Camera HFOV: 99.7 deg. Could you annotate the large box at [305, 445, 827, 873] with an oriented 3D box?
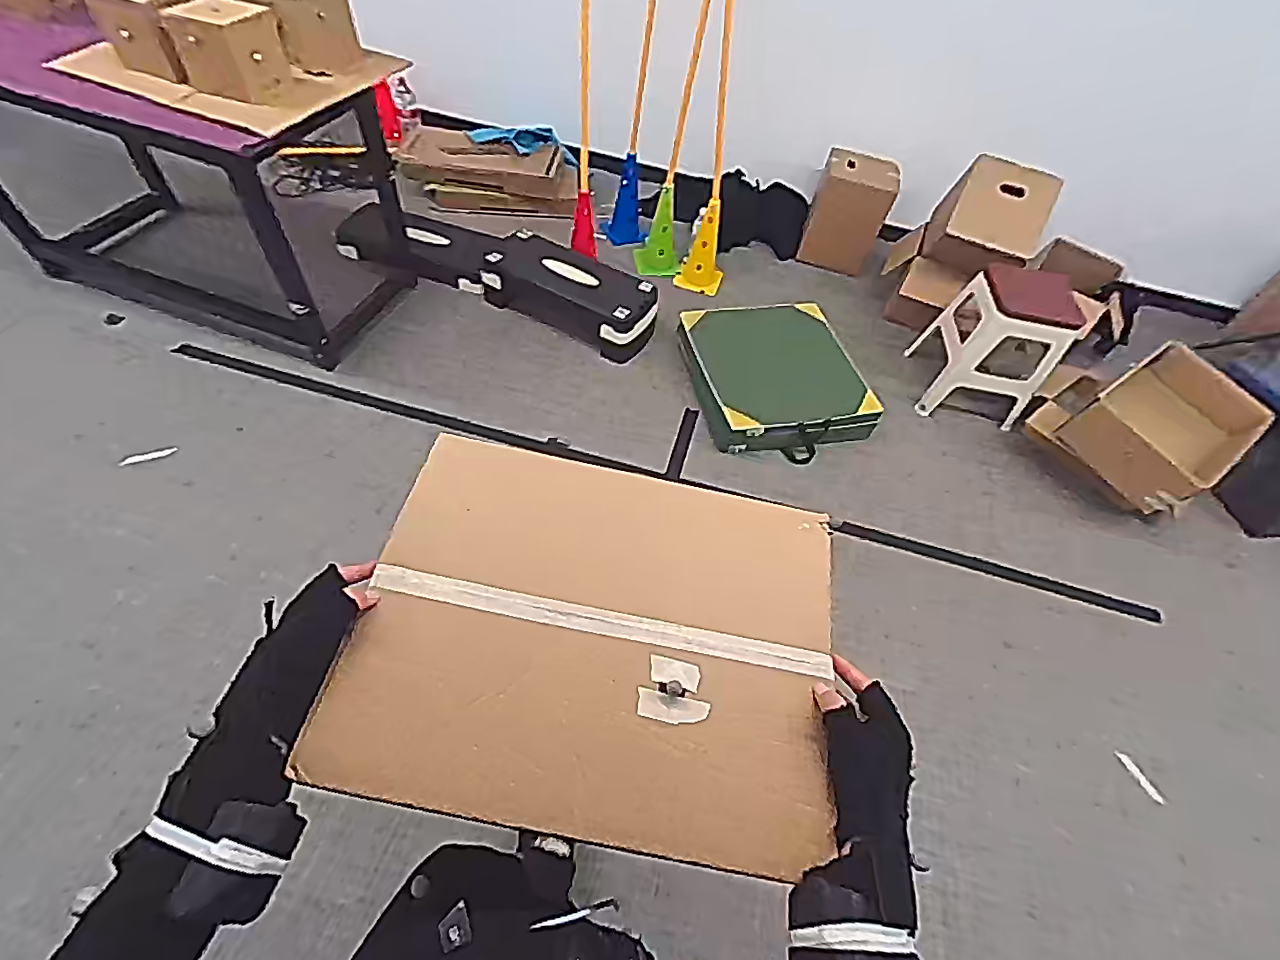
[{"bbox_3d":[-0.051,0.206,0.603,0.408,0.320,0.320,13,58,-1],"label":"large box"}]
